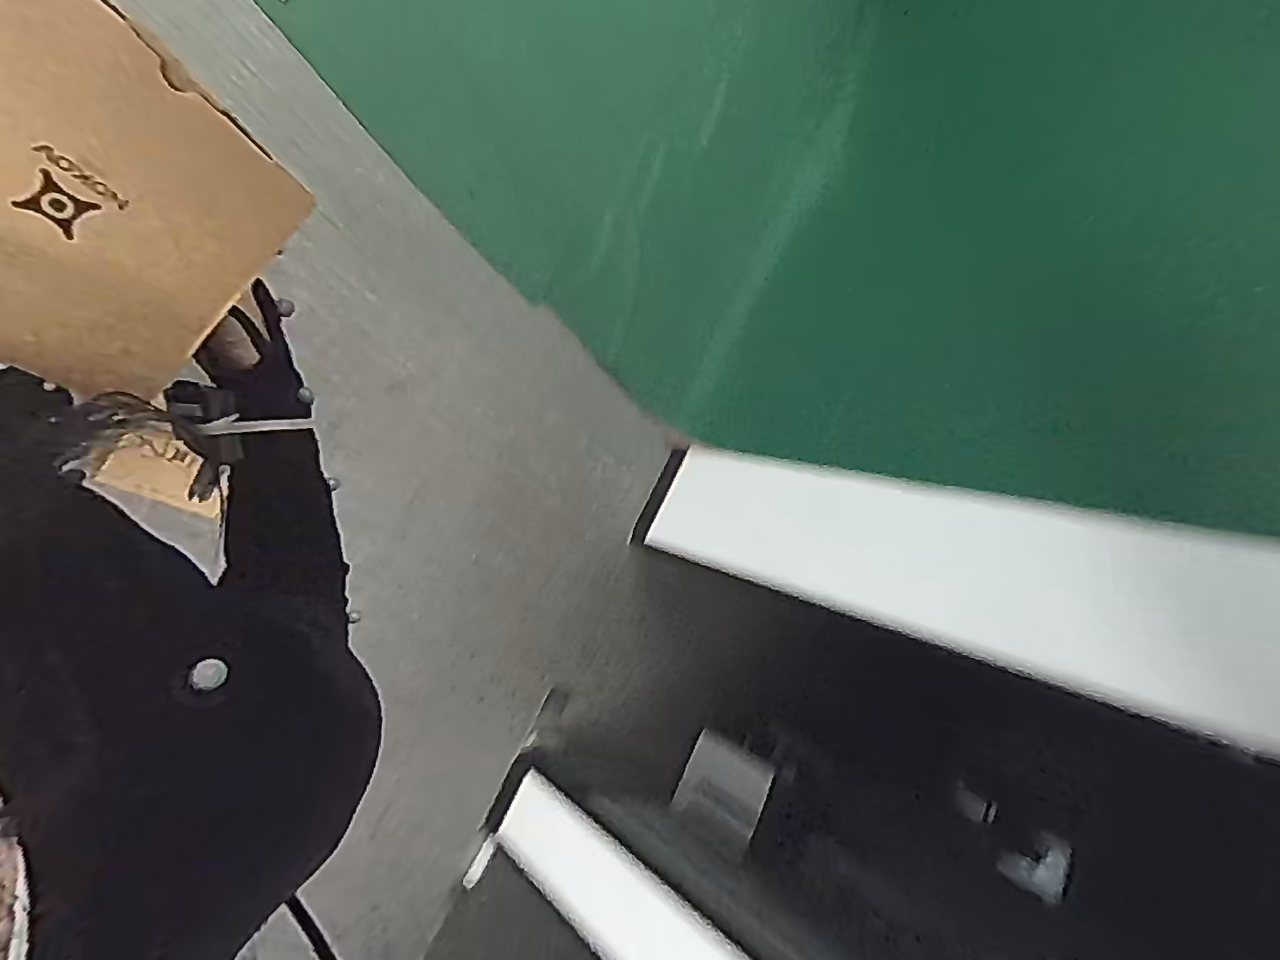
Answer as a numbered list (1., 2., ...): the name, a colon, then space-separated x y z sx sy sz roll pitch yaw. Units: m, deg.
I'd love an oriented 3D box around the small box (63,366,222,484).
1. small box: -0.993 -0.113 1.078 0.179 0.176 0.168 38 73 -47
